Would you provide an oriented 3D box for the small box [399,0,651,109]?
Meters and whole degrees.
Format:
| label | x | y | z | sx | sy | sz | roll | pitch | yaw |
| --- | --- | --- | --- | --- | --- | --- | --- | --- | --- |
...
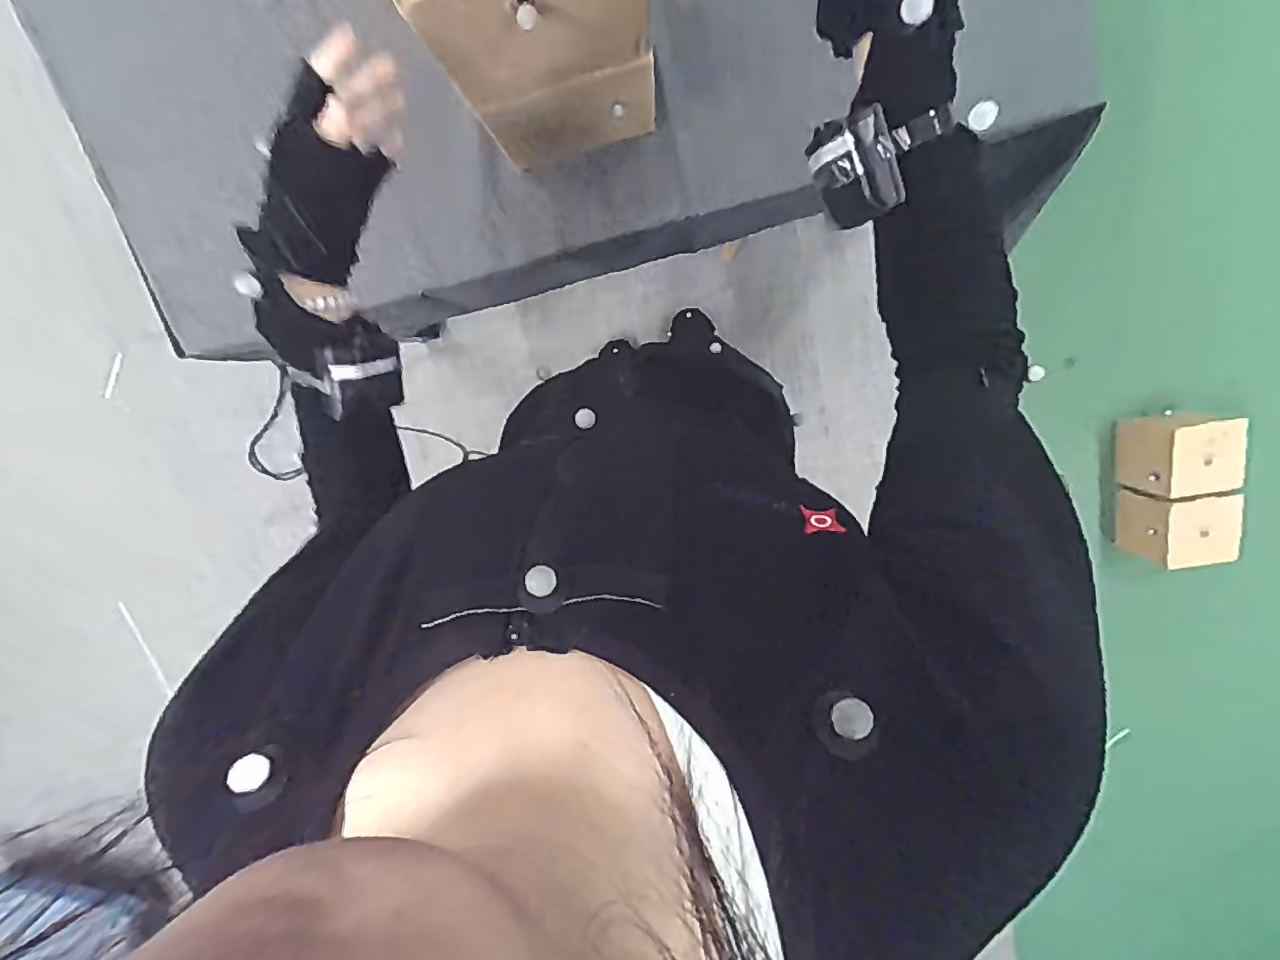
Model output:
| label | x | y | z | sx | sy | sz | roll | pitch | yaw |
| --- | --- | --- | --- | --- | --- | --- | --- | --- | --- |
| small box | -0.091 | -0.423 | 0.406 | 0.179 | 0.176 | 0.168 | -15 | 103 | 6 |
